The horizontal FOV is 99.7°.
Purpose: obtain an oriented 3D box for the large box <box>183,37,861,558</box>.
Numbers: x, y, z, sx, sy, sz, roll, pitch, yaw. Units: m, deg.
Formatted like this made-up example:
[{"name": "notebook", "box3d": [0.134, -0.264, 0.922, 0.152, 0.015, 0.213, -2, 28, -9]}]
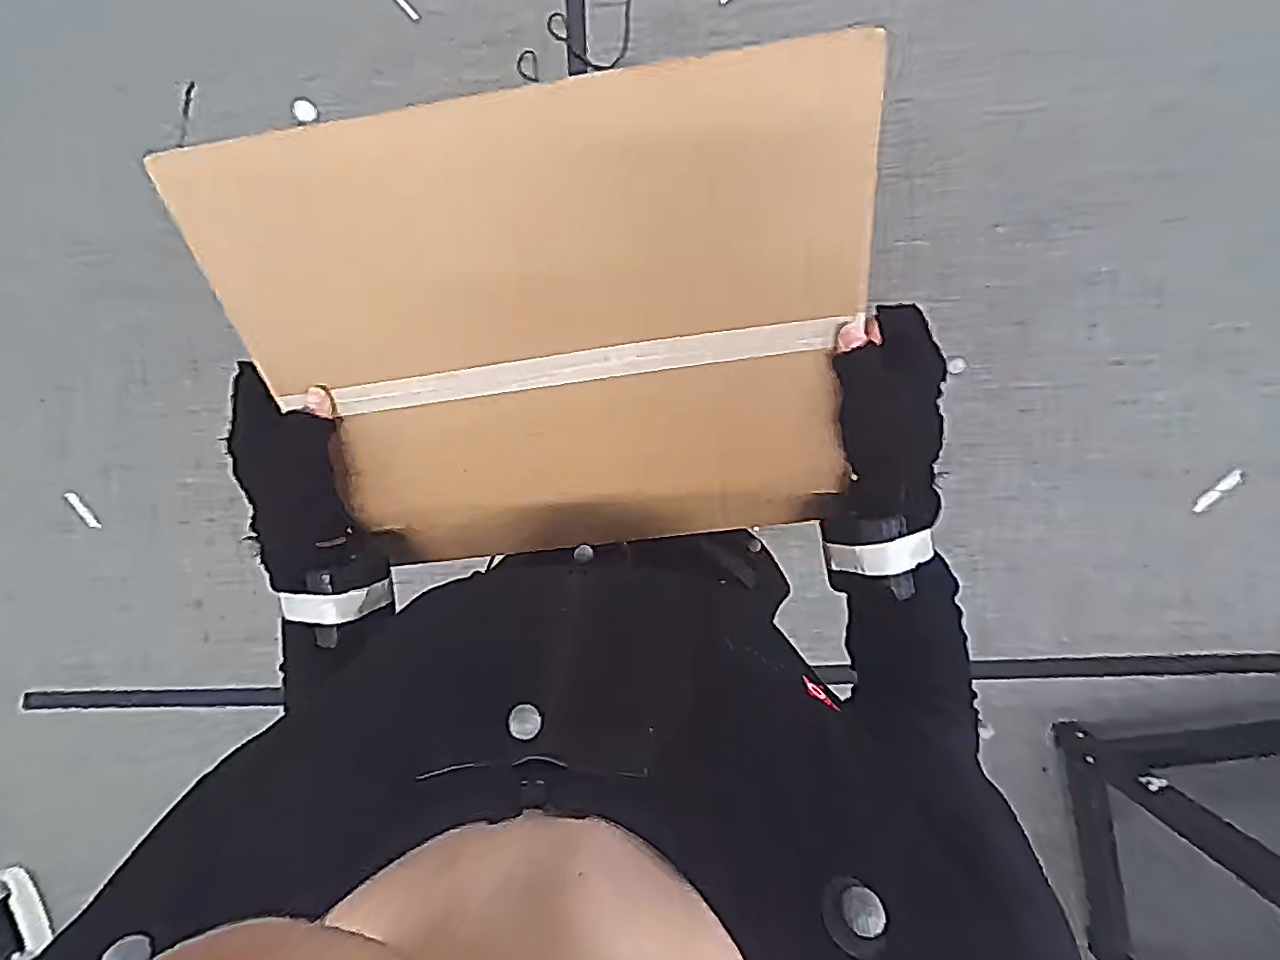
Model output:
[{"name": "large box", "box3d": [-0.057, -0.162, 0.506, 0.408, 0.320, 0.320, -7, 124, 5]}]
